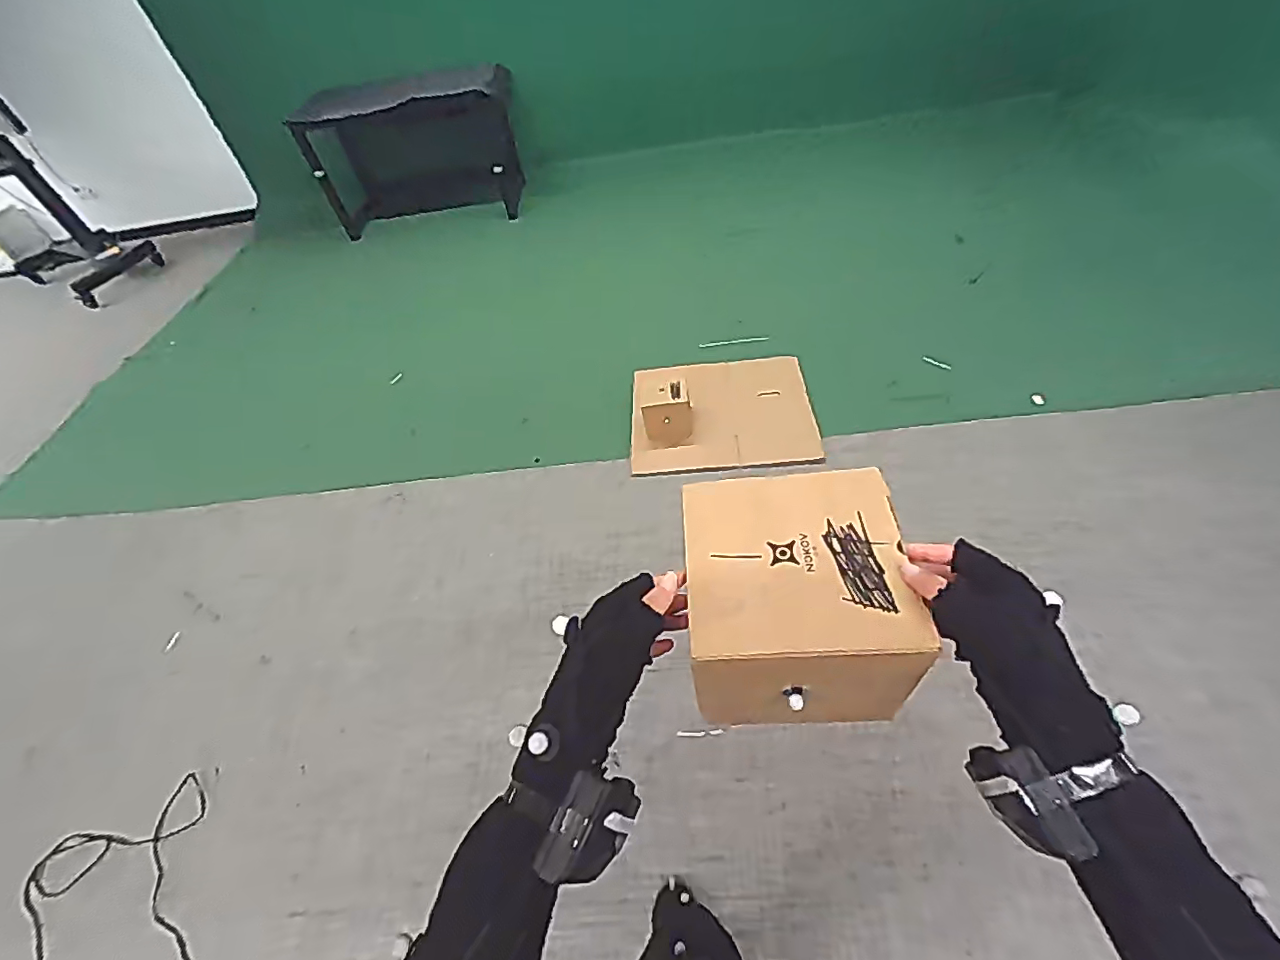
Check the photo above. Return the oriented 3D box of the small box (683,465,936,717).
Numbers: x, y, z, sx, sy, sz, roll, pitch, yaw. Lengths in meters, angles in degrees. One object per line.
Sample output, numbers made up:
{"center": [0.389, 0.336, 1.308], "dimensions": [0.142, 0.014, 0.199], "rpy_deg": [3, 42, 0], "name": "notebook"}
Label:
{"center": [0.132, 0.106, 0.492], "dimensions": [0.179, 0.176, 0.168], "rpy_deg": [-4, 50, 7], "name": "small box"}
